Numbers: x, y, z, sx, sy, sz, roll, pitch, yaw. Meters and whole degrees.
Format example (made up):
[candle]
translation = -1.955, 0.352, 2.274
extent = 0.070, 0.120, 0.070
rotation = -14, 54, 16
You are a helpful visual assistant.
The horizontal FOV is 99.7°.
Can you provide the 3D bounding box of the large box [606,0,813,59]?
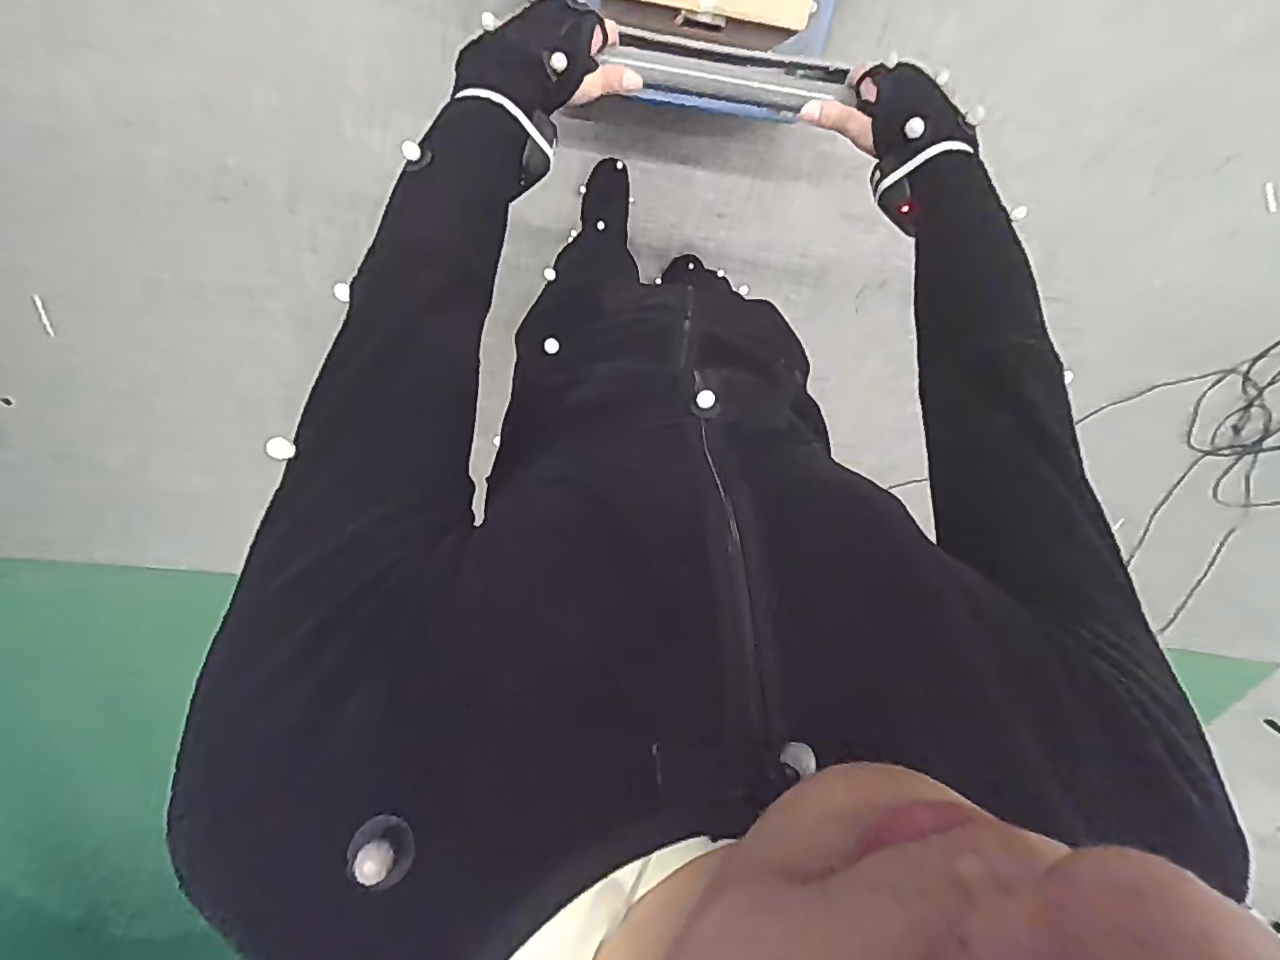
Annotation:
[large box]
translation = 0.115, -0.930, 0.823
extent = 0.320, 0.320, 0.408
rotation = 5, 120, -6
